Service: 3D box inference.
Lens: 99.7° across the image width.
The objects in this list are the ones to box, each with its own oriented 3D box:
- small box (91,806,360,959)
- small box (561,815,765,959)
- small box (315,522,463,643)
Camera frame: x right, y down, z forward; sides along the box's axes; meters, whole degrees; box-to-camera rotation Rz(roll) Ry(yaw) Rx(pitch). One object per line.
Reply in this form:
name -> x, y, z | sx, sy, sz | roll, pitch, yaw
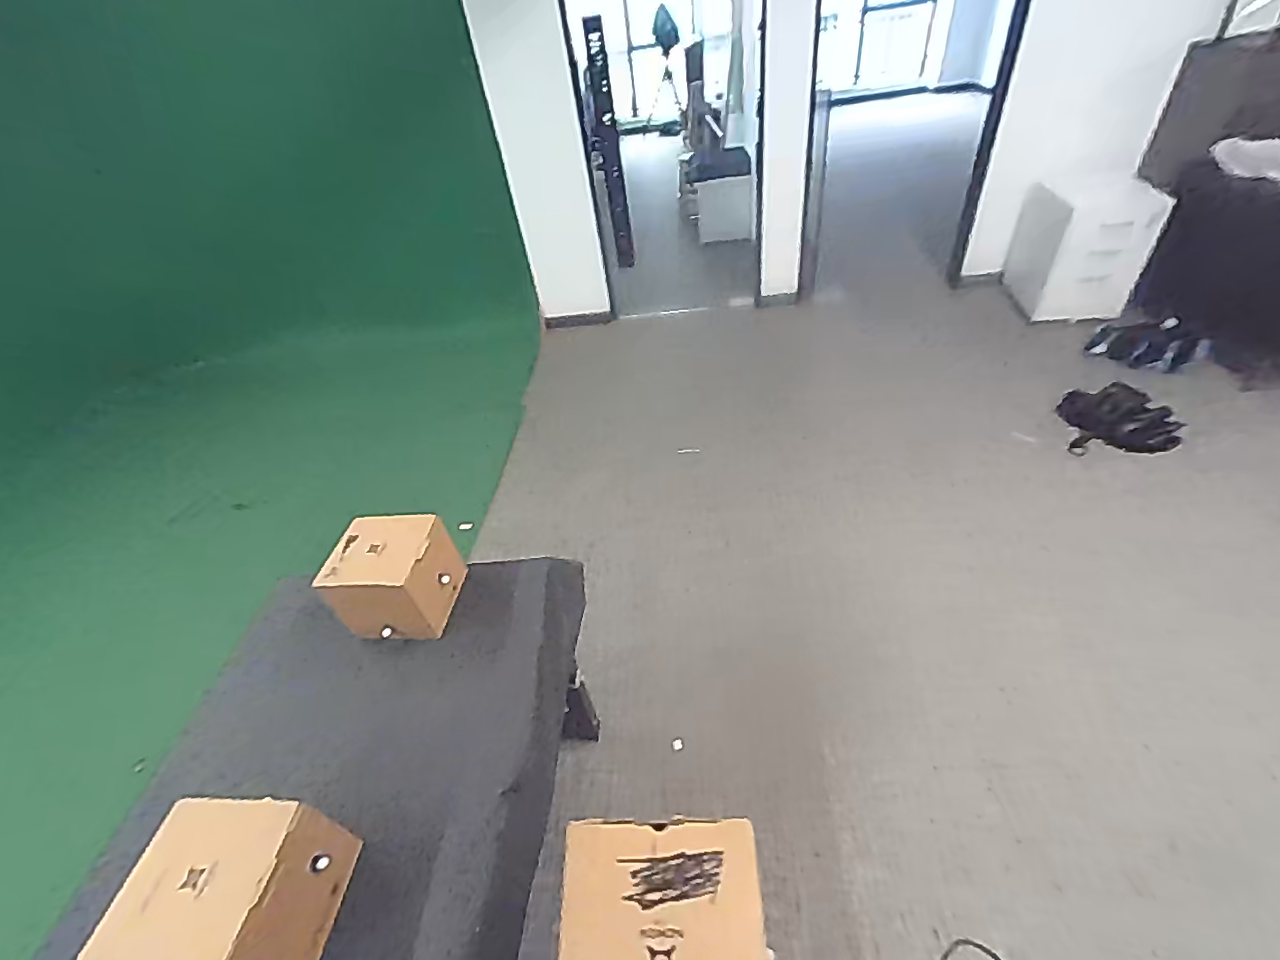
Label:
small box -> -0.490, 0.526, 0.671 | 0.179, 0.176, 0.168 | -4, 40, 7
small box -> 0.021, 0.423, 0.499 | 0.168, 0.176, 0.179 | -3, 53, 2
small box -> -0.463, 0.197, 1.033 | 0.179, 0.176, 0.168 | -2, 42, 8
